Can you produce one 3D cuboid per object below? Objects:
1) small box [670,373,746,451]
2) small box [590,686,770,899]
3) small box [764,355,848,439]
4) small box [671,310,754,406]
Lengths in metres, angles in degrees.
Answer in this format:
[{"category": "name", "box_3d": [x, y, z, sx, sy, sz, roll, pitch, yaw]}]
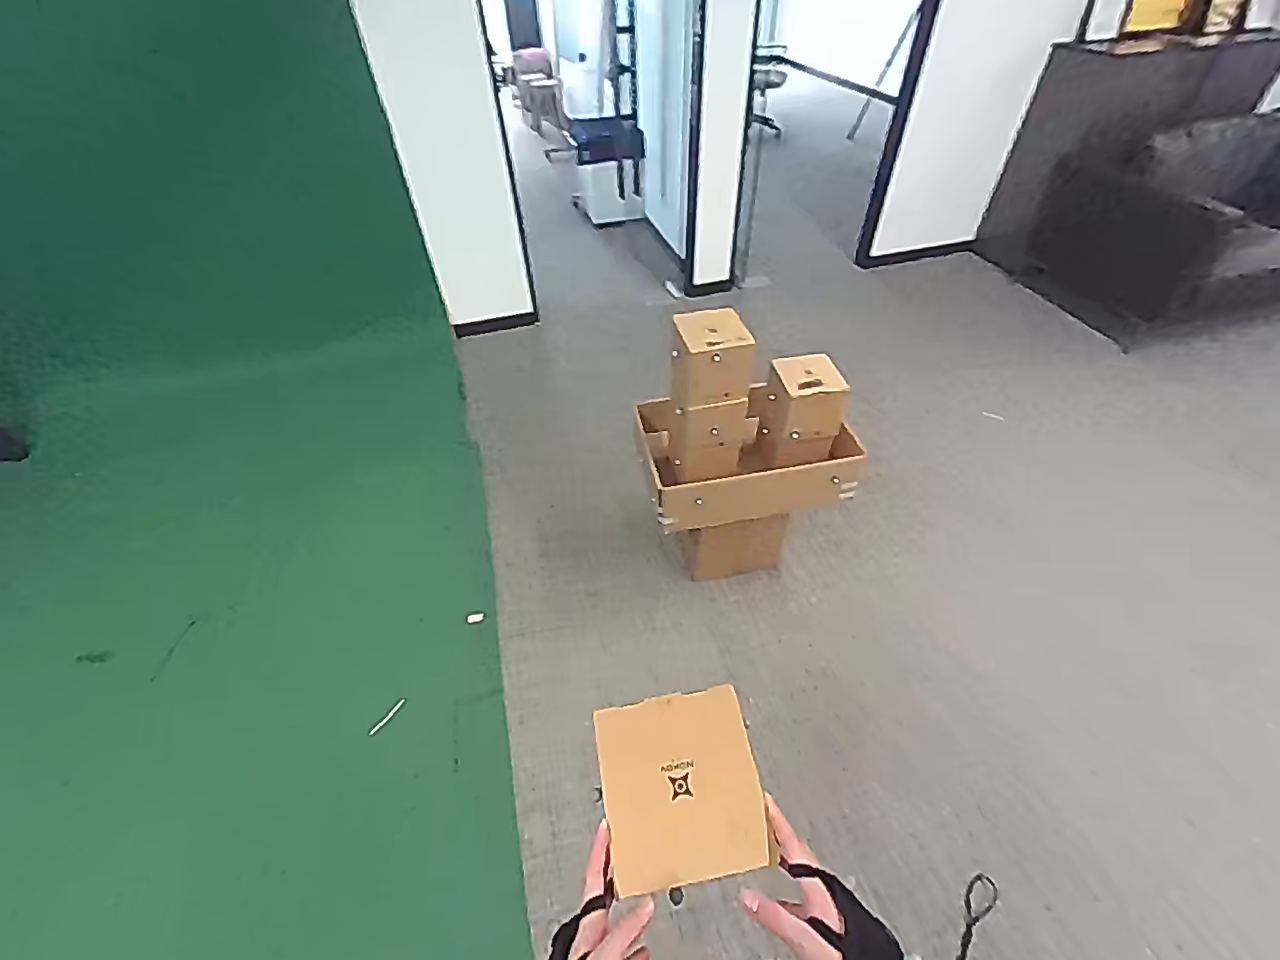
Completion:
[{"category": "small box", "box_3d": [0.184, -0.196, 1.513, 0.168, 0.176, 0.179, -9, 48, -8]}, {"category": "small box", "box_3d": [0.039, 0.366, 0.634, 0.168, 0.176, 0.179, -9, 53, -5]}, {"category": "small box", "box_3d": [0.464, -0.230, 1.539, 0.168, 0.176, 0.179, -7, 46, -4]}, {"category": "small box", "box_3d": [0.180, -0.315, 1.400, 0.168, 0.176, 0.179, -10, 47, -8]}]
